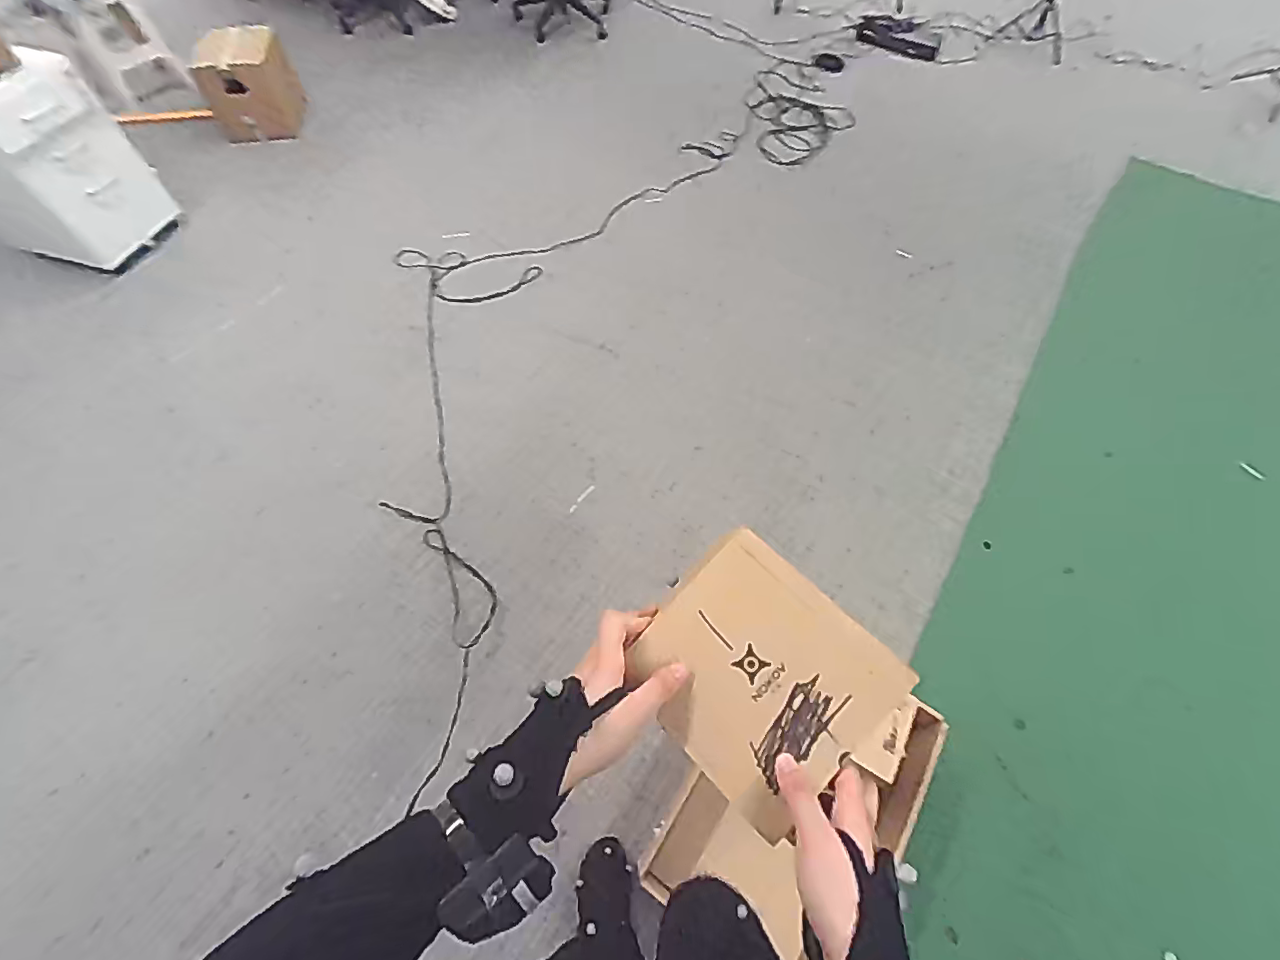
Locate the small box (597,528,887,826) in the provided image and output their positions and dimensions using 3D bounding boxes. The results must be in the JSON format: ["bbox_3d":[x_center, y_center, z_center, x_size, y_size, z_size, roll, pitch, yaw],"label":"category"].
[{"bbox_3d":[0.084,0.165,0.513,0.179,0.176,0.168,43,84,8],"label":"small box"}]

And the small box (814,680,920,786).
[{"bbox_3d":[0.401,0.470,1.051,0.179,0.176,0.168,28,62,17],"label":"small box"}]
